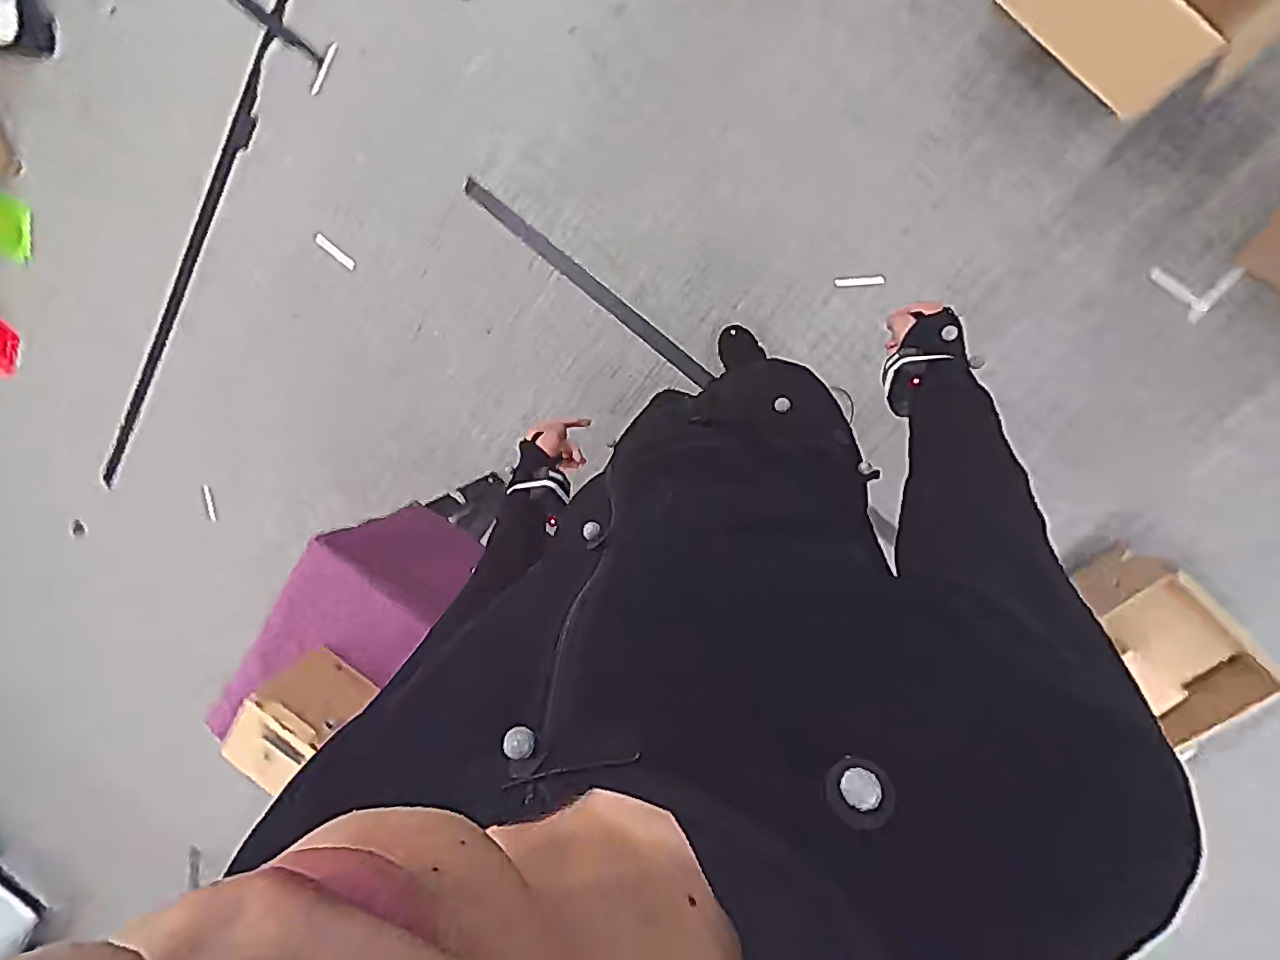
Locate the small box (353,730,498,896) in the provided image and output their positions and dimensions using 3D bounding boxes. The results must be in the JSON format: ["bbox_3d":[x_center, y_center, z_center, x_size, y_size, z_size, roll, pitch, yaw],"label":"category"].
[{"bbox_3d":[-0.396,0.622,1.030,0.168,0.176,0.179,34,109,3],"label":"small box"}]

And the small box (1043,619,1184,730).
[{"bbox_3d":[1.187,0.481,1.375,0.179,0.176,0.168,39,109,1],"label":"small box"}]
